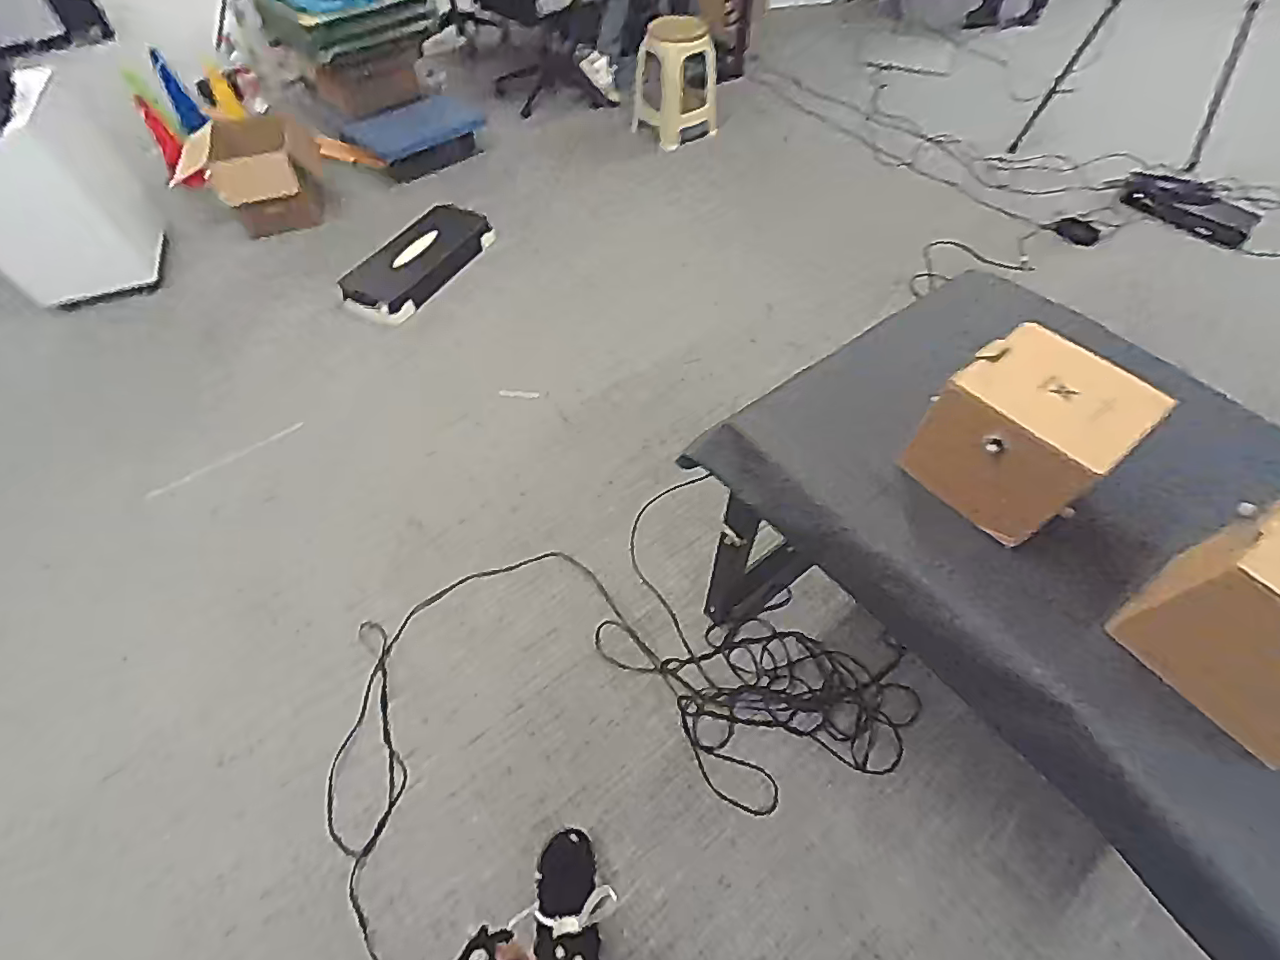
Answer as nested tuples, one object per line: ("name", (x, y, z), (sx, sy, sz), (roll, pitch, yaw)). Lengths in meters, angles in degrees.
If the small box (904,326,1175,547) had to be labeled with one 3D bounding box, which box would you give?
("small box", (0.468, -0.050, 0.666), (0.168, 0.176, 0.179), (-32, 61, -19))
